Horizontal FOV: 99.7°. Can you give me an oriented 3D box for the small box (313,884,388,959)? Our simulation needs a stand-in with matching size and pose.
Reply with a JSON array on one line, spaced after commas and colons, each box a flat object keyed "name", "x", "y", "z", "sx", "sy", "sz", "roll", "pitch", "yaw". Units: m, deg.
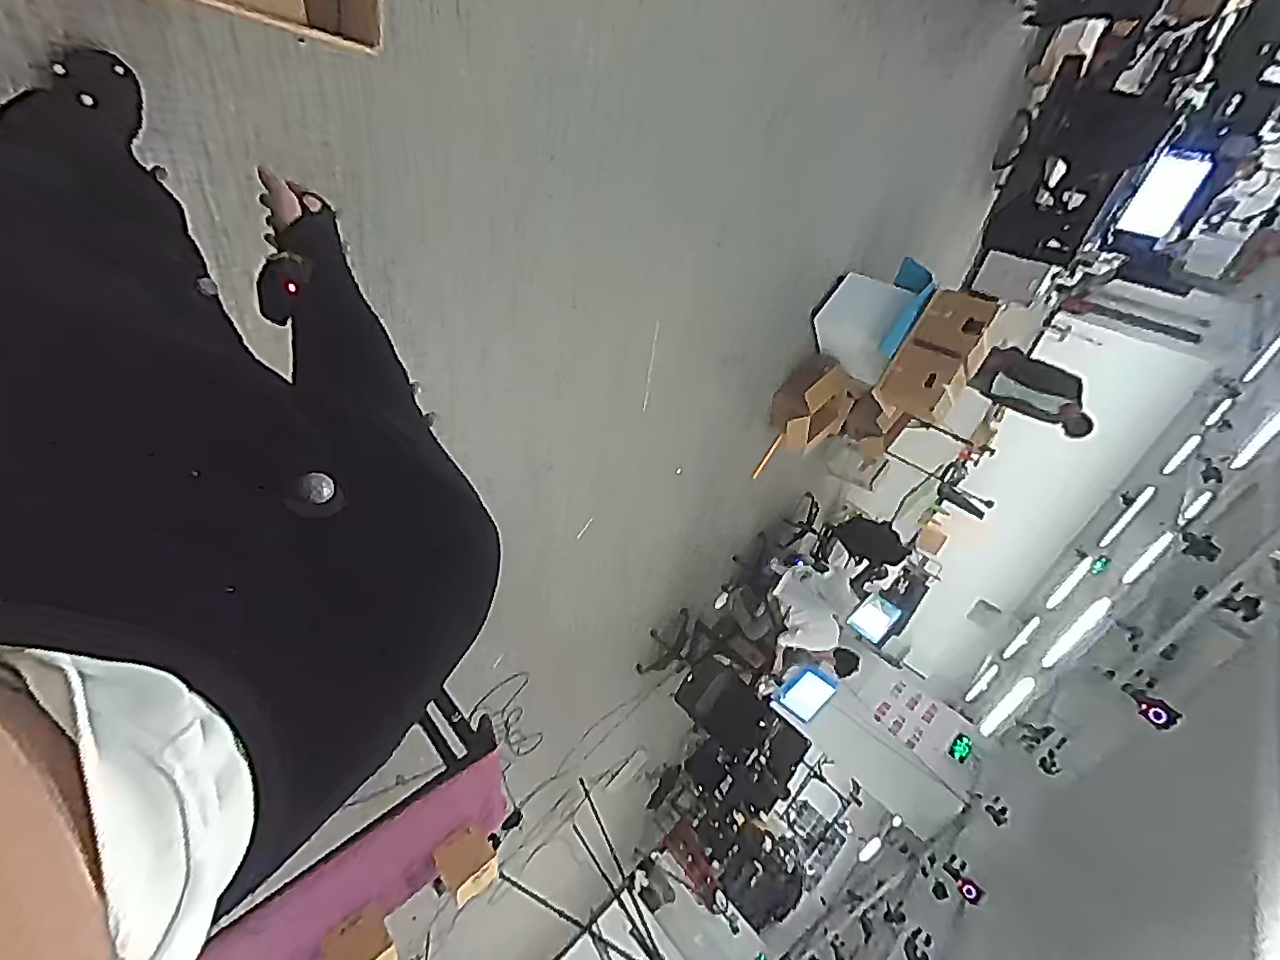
[{"name": "small box", "x": -0.968, "y": 1.512, "z": 1.811, "sx": 0.168, "sy": 0.176, "sz": 0.179, "roll": -23, "pitch": 138, "yaw": -42}]

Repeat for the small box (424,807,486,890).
[{"name": "small box", "x": -0.698, "y": 1.382, "z": 2.041, "sx": 0.168, "sy": 0.176, "sz": 0.179, "roll": -24, "pitch": 138, "yaw": -39}]
